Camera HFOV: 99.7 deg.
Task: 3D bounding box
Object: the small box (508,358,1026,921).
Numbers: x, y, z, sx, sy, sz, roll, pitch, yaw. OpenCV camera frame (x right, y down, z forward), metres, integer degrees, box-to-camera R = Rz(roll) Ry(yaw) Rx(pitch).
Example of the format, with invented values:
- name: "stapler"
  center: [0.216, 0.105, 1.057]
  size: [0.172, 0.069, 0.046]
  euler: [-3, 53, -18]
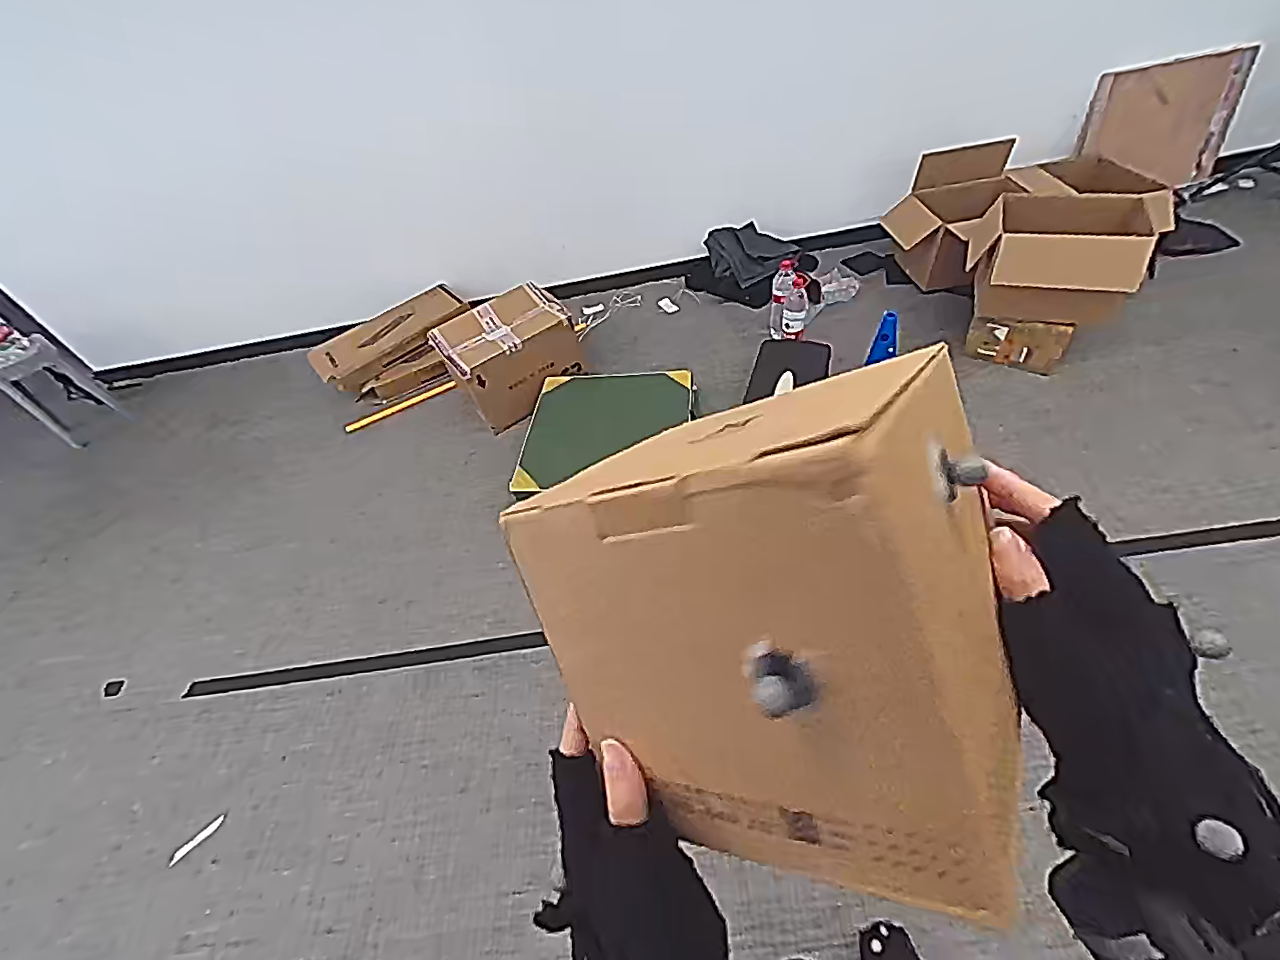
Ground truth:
- name: "small box"
  center: [0.073, 0.059, 0.273]
  size: [0.168, 0.176, 0.179]
  euler: [-14, 10, 42]
